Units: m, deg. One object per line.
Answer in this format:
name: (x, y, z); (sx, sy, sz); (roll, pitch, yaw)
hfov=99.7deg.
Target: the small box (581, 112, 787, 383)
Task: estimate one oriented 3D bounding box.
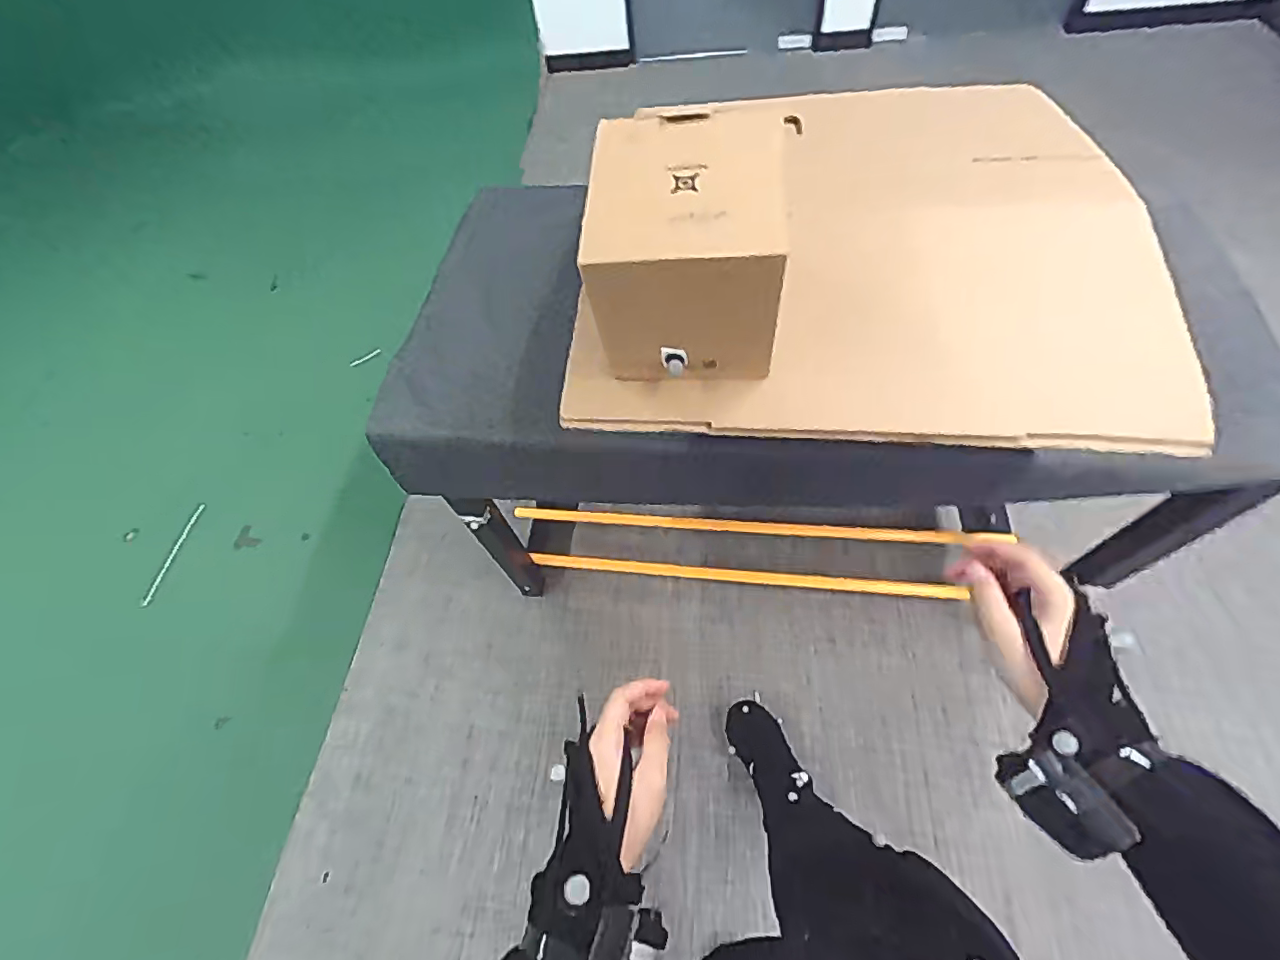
small box: (0.048, -0.215, 0.529); (0.168, 0.176, 0.179); (0, 67, 9)
